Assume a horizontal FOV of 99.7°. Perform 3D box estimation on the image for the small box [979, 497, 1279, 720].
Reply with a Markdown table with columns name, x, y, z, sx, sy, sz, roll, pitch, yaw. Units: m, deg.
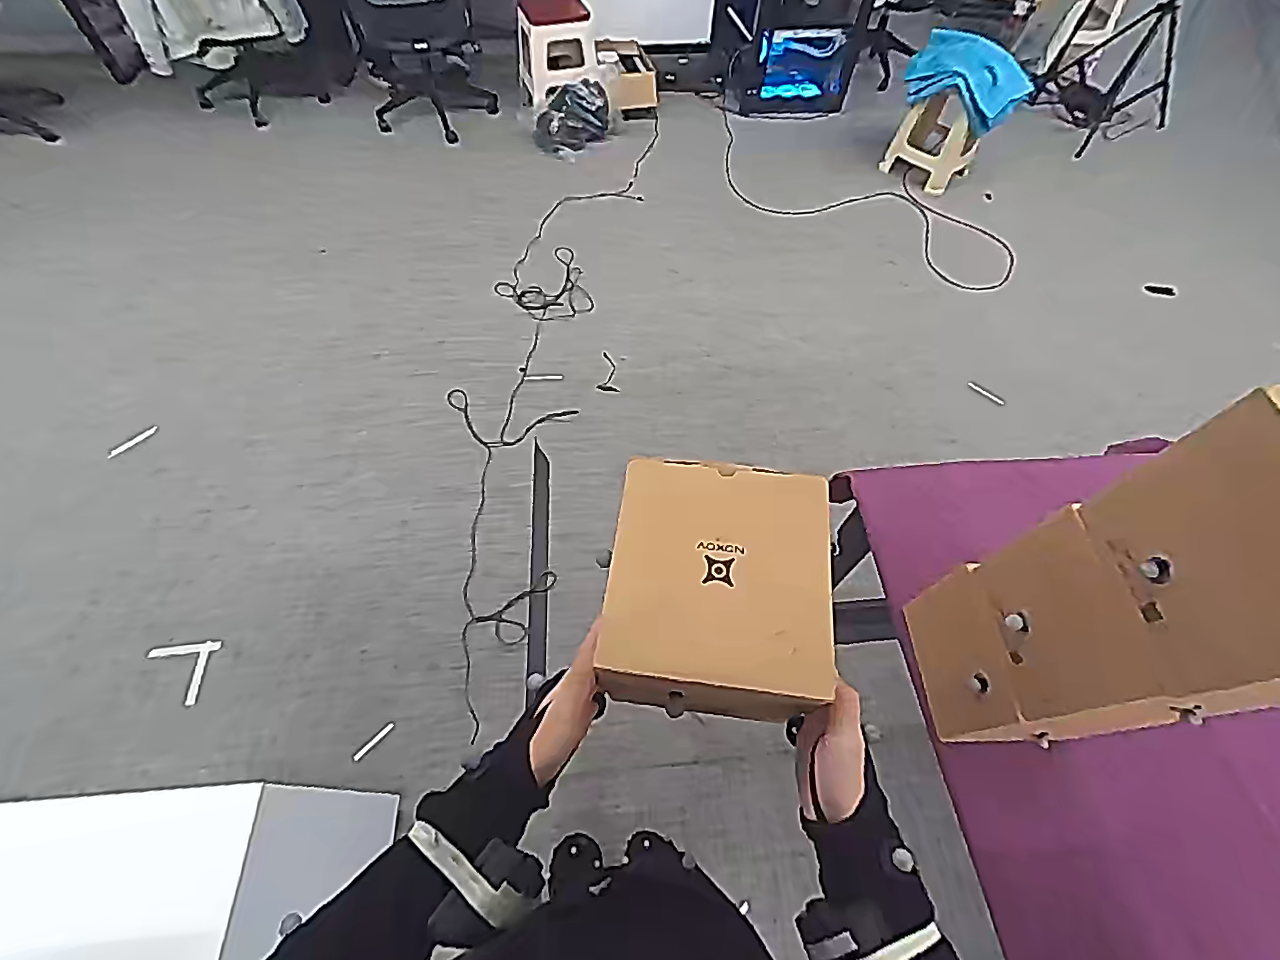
| name | x | y | z | sx | sy | sz | roll | pitch | yaw |
| --- | --- | --- | --- | --- | --- | --- | --- | --- | --- |
| small box | 0.474 | 0.128 | 0.514 | 0.179 | 0.176 | 0.168 | -1 | 59 | -2 |

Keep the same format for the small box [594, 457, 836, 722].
| name | x | y | z | sx | sy | sz | roll | pitch | yaw |
| --- | --- | --- | --- | --- | --- | --- | --- | --- | --- |
| small box | 0.063 | 0.102 | 0.470 | 0.168 | 0.176 | 0.179 | 5 | 59 | 5 |

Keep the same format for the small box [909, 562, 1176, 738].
| name | x | y | z | sx | sy | sz | roll | pitch | yaw |
| --- | --- | --- | --- | --- | --- | --- | --- | --- | --- |
| small box | 0.460 | 0.211 | 0.655 | 0.168 | 0.176 | 0.179 | 0 | 58 | -2 |
